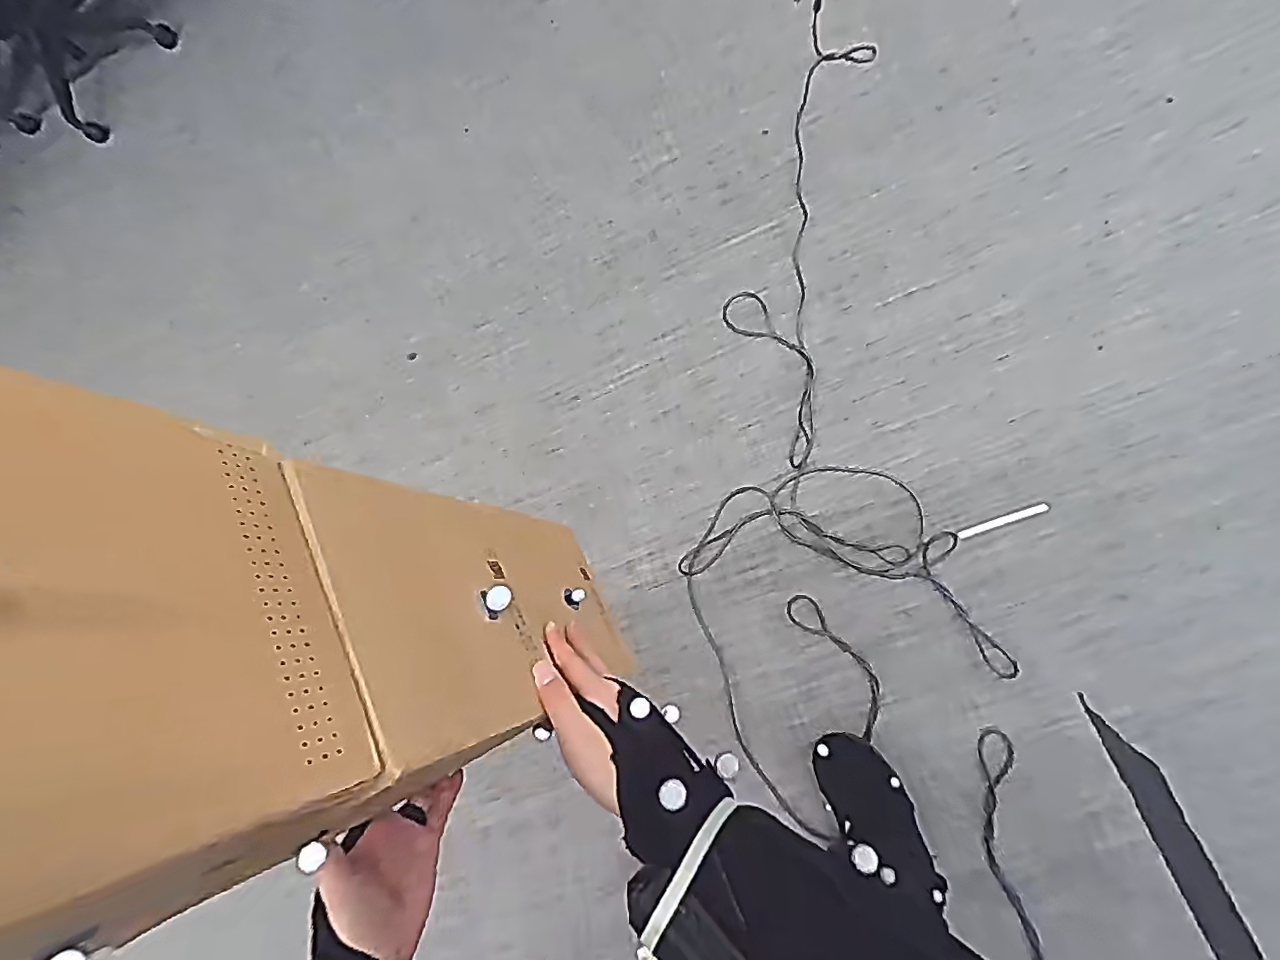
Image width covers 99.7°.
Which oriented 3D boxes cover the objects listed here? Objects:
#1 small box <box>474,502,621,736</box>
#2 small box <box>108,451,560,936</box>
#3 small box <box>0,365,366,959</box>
[{"bbox_3d":[-0.134,0.140,0.486,0.179,0.176,0.168,-31,71,10],"label":"small box"},{"bbox_3d":[-0.180,0.112,0.330,0.179,0.176,0.168,-33,71,9],"label":"small box"},{"bbox_3d":[-0.235,0.074,0.182,0.168,0.176,0.179,-34,71,9],"label":"small box"}]
